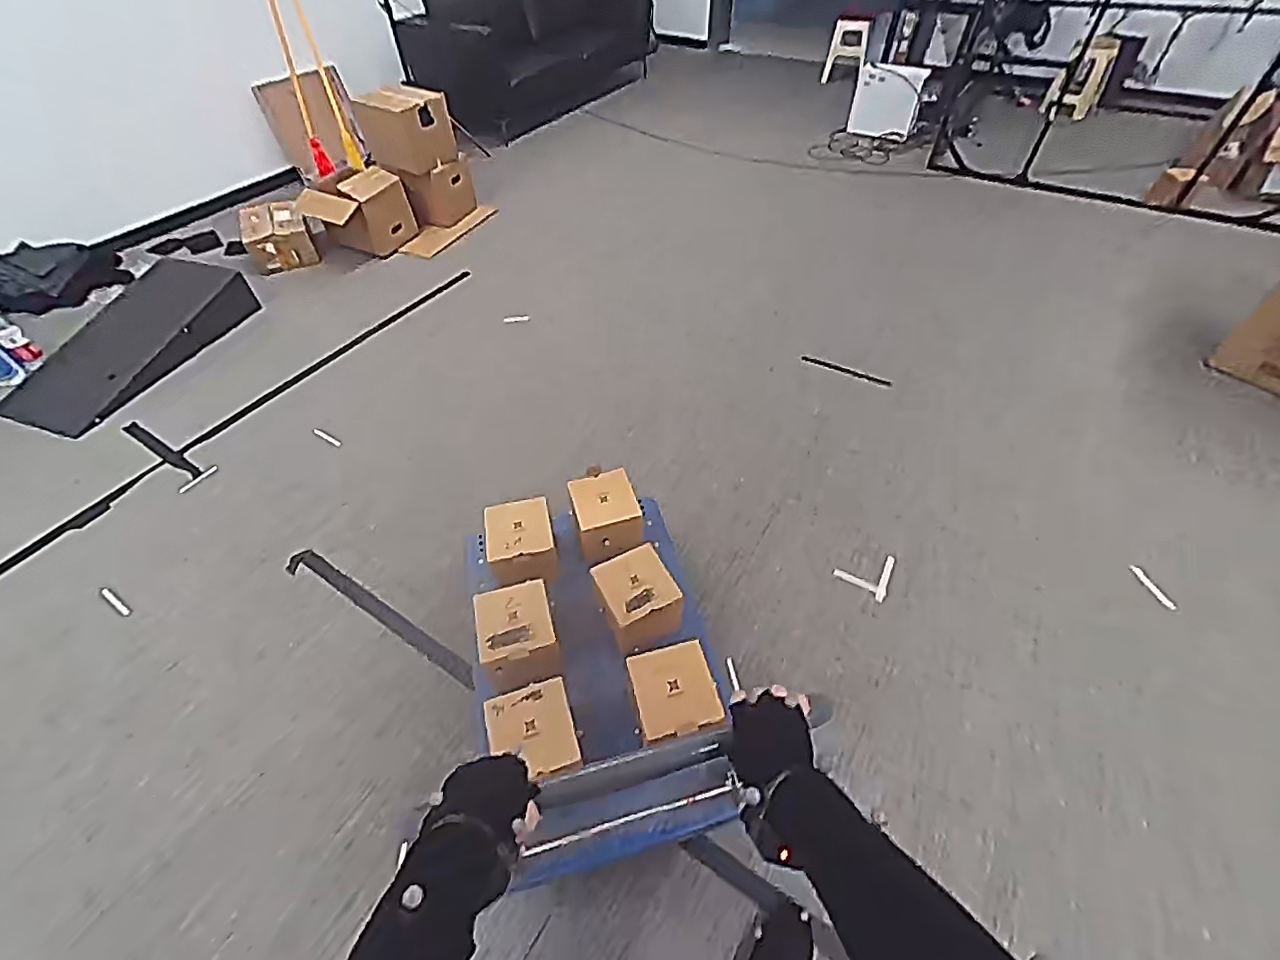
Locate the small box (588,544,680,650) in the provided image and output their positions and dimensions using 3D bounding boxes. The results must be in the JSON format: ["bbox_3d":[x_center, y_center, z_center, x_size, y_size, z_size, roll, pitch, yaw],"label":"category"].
[{"bbox_3d":[-0.014,0.298,1.344,0.168,0.176,0.179,-22,52,-18],"label":"small box"}]

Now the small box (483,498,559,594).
[{"bbox_3d":[-0.318,0.178,1.449,0.168,0.176,0.179,-11,51,-9],"label":"small box"}]

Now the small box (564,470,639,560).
[{"bbox_3d":[-0.104,0.104,1.514,0.168,0.176,0.179,-15,50,-12],"label":"small box"}]

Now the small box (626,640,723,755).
[{"bbox_3d":[0.070,0.482,1.185,0.168,0.176,0.179,-12,49,-10],"label":"small box"}]

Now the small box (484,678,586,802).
[{"bbox_3d":[-0.216,0.548,1.128,0.168,0.176,0.179,-14,51,-13],"label":"small box"}]
